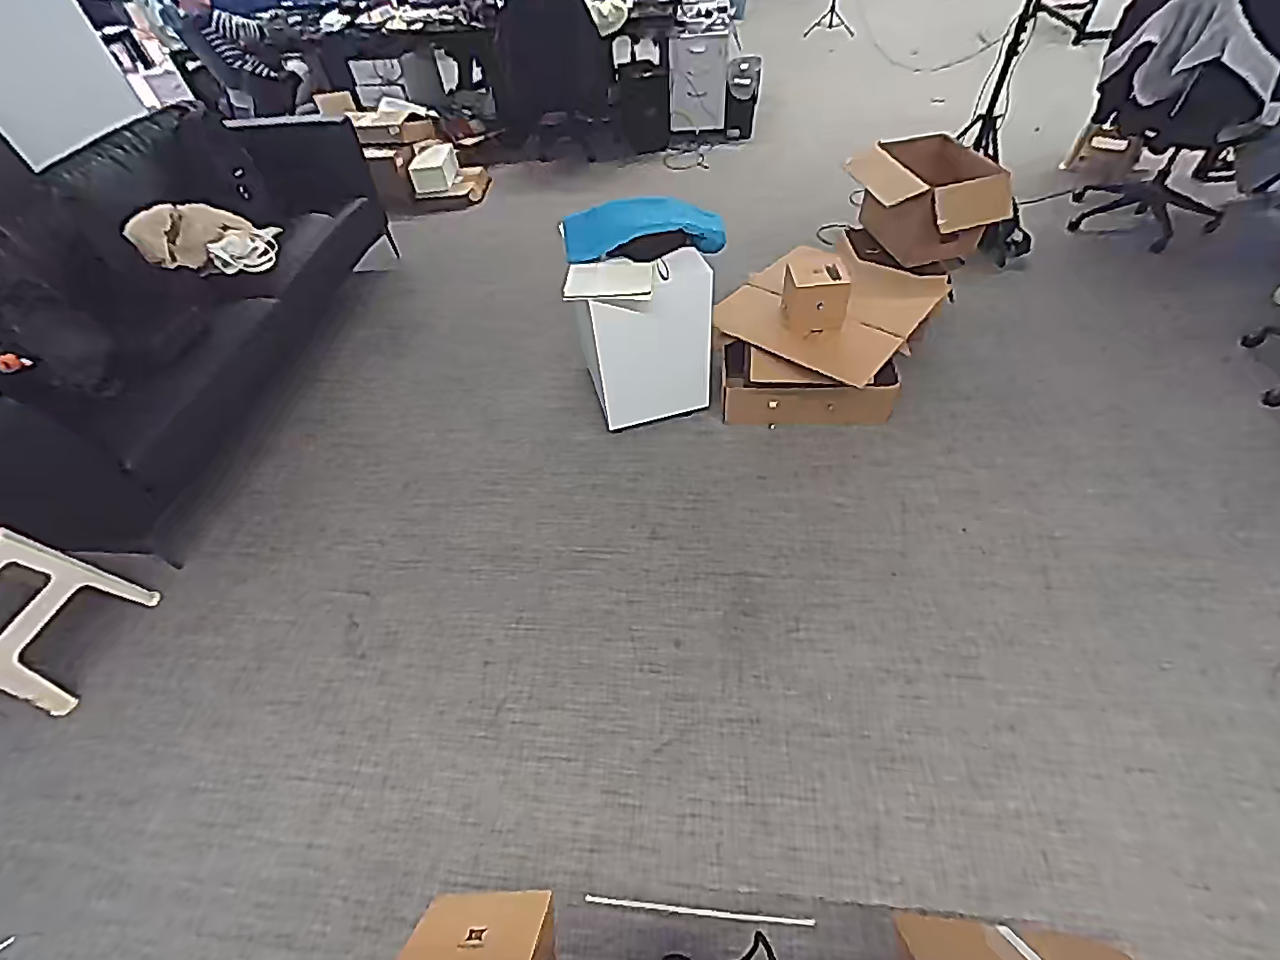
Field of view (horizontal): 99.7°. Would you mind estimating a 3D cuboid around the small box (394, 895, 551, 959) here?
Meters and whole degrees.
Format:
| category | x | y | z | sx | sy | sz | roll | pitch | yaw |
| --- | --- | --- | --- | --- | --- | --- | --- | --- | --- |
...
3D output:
| category | x | y | z | sx | sy | sz | roll | pitch | yaw |
| --- | --- | --- | --- | --- | --- | --- | --- | --- | --- |
| small box | -0.205 | 0.650 | 0.657 | 0.168 | 0.179 | 0.176 | -4 | 83 | 1 |
